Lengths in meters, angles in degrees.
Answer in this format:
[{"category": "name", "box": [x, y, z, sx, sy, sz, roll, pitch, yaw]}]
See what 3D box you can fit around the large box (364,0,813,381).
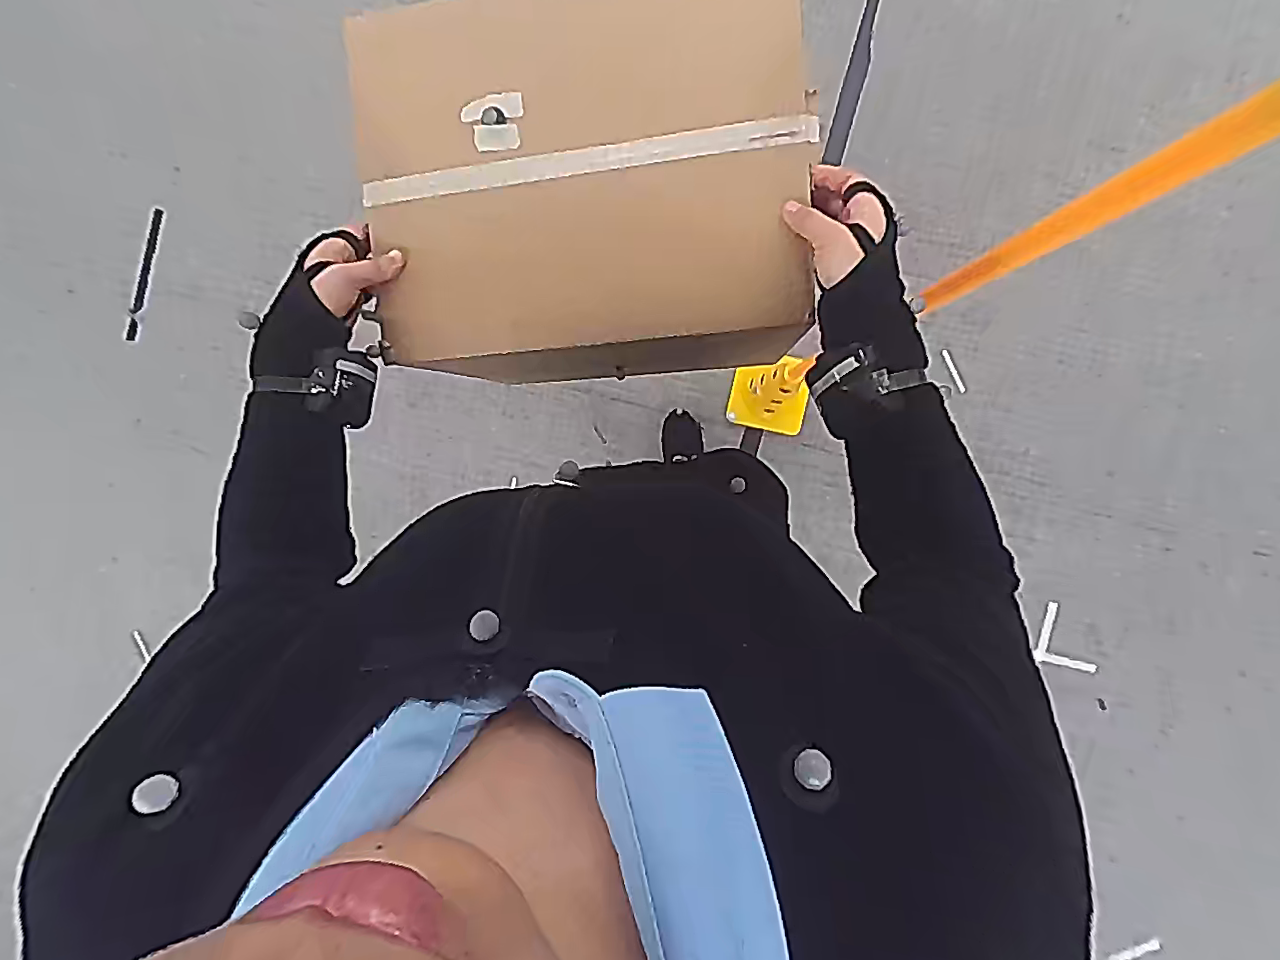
[{"category": "large box", "box": [-0.031, -0.298, 0.637, 0.408, 0.320, 0.320, -3, 94, 10]}]
